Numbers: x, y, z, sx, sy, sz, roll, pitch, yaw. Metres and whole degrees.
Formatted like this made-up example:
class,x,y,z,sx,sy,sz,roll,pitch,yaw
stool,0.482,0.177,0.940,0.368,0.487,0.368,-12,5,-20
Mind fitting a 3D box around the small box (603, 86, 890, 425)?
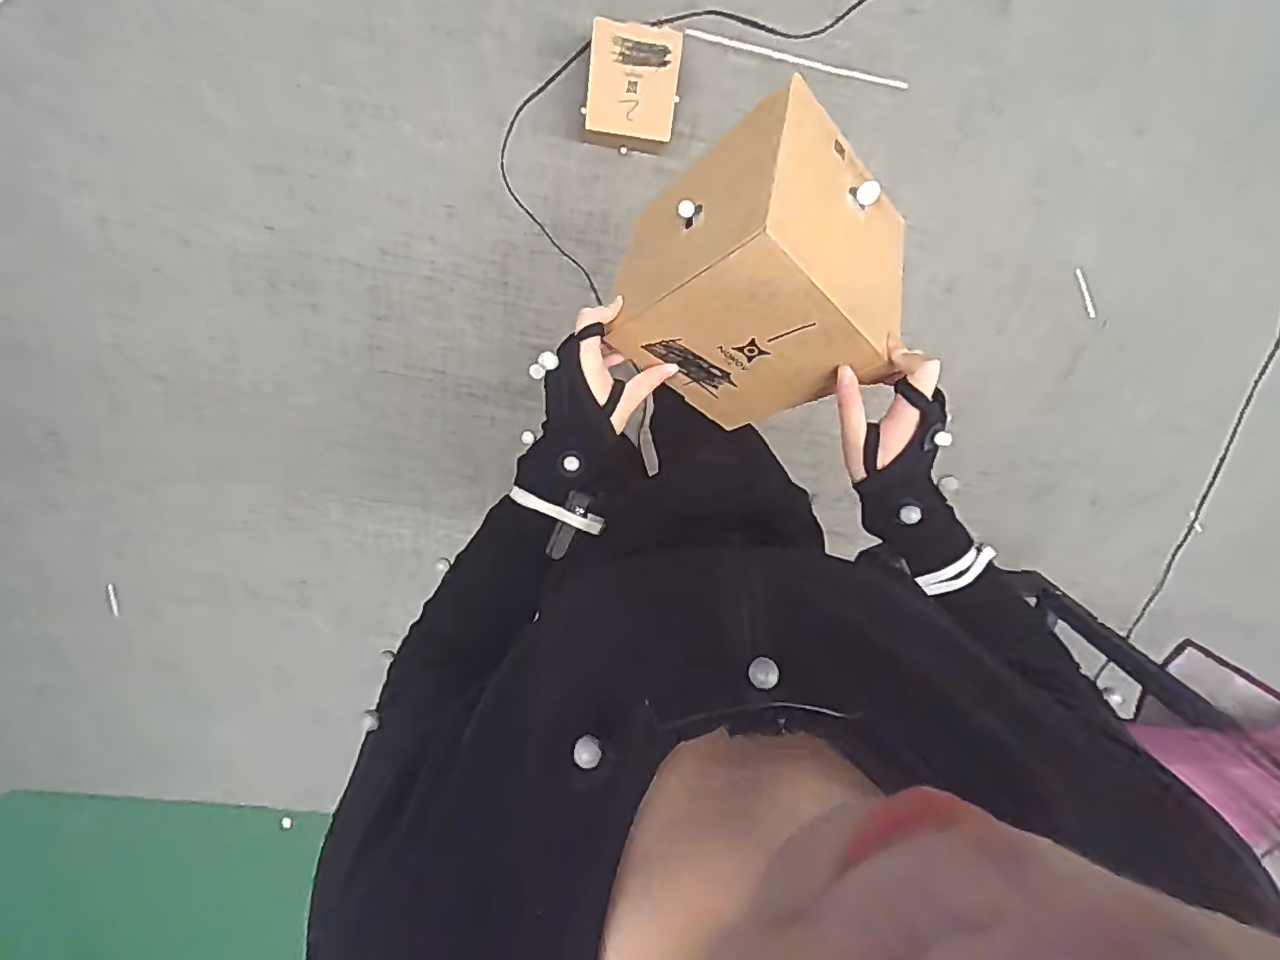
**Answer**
class,x,y,z,sx,sy,sz,roll,pitch,yaw
small box,0.098,-0.179,0.474,0.168,0.176,0.179,29,151,-30
